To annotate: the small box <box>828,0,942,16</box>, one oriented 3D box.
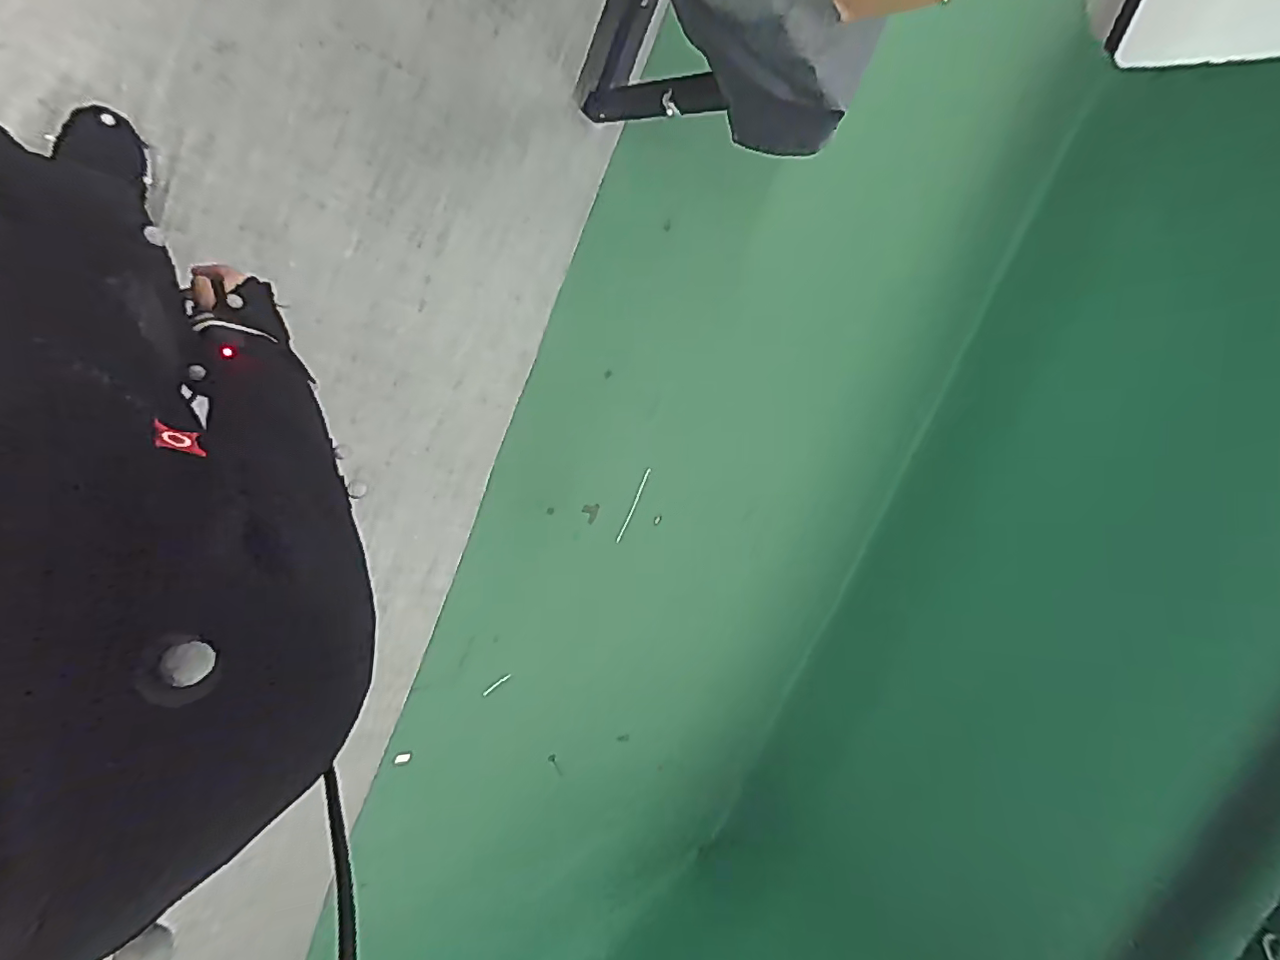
[{"bbox_3d":[0.350,-0.790,0.740,0.179,0.176,0.168,22,98,-50],"label":"small box"}]
